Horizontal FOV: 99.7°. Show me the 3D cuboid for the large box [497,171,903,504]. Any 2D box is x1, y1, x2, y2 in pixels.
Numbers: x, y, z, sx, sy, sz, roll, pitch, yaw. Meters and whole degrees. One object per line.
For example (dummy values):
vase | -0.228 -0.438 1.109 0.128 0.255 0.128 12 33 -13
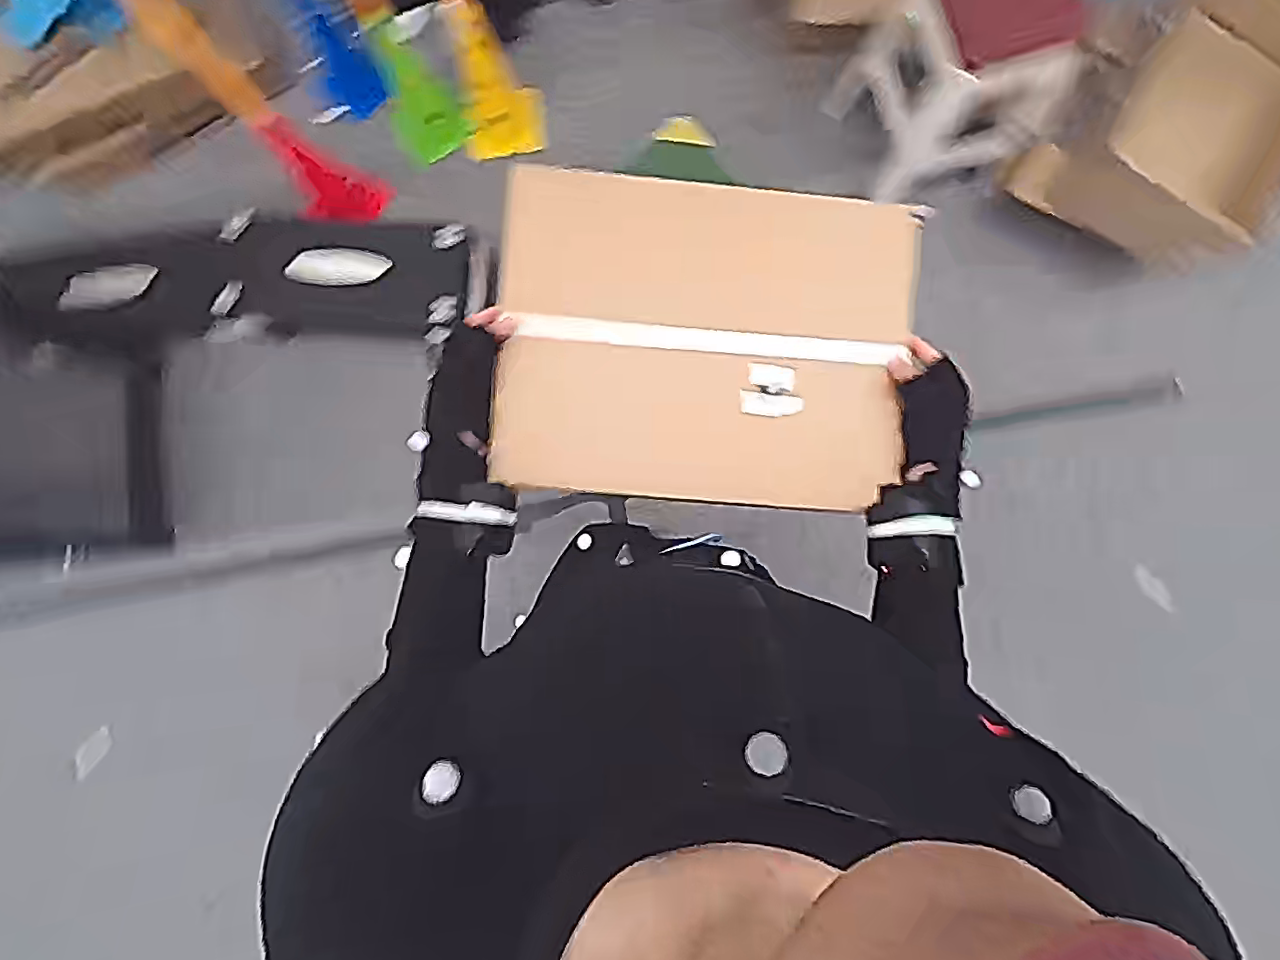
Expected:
large box | 0.054 -0.139 0.693 0.408 0.320 0.320 5 89 -4
